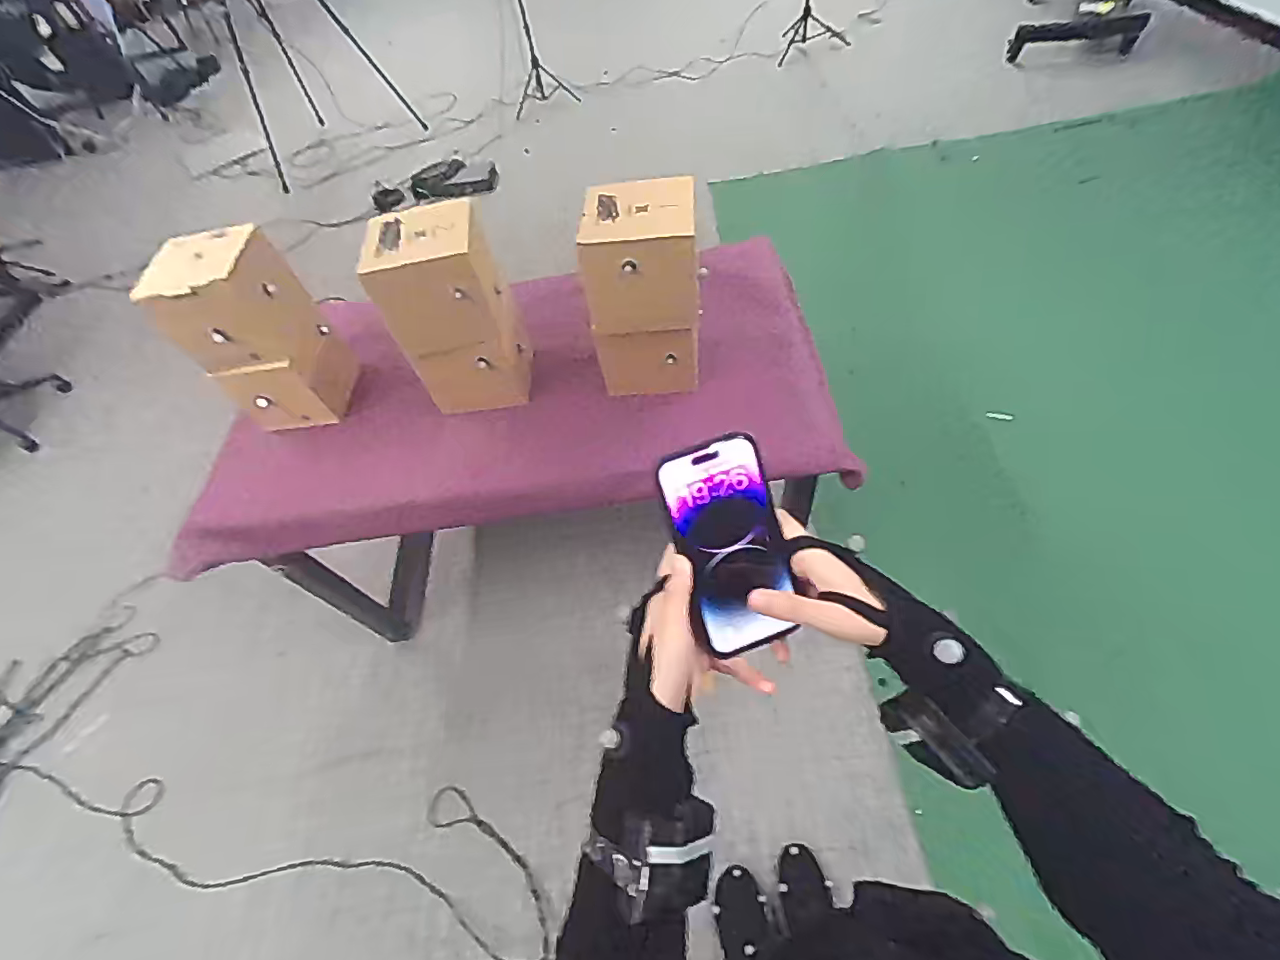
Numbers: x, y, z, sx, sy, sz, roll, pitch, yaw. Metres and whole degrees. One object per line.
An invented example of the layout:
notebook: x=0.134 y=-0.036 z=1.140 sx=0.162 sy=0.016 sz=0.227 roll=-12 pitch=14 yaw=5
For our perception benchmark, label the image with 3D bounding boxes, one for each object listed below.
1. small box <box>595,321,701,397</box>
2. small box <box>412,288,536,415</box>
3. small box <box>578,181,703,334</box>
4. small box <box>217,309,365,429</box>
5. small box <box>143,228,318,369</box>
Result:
small box: x=0.025 y=-0.274 z=1.025 sx=0.179 sy=0.176 sz=0.168 roll=-2 pitch=55 yaw=9
small box: x=-0.313 y=-0.247 z=1.063 sx=0.179 sy=0.176 sz=0.168 roll=-7 pitch=54 yaw=5
small box: x=0.011 y=-0.356 z=0.883 sx=0.179 sy=0.176 sz=0.168 roll=-2 pitch=55 yaw=8
small box: x=-0.700 y=-0.219 z=1.111 sx=0.168 sy=0.176 sz=0.179 roll=-6 pitch=55 yaw=6
small box: x=-0.723 y=-0.319 z=0.982 sx=0.168 sy=0.176 sz=0.179 roll=-10 pitch=55 yaw=2
